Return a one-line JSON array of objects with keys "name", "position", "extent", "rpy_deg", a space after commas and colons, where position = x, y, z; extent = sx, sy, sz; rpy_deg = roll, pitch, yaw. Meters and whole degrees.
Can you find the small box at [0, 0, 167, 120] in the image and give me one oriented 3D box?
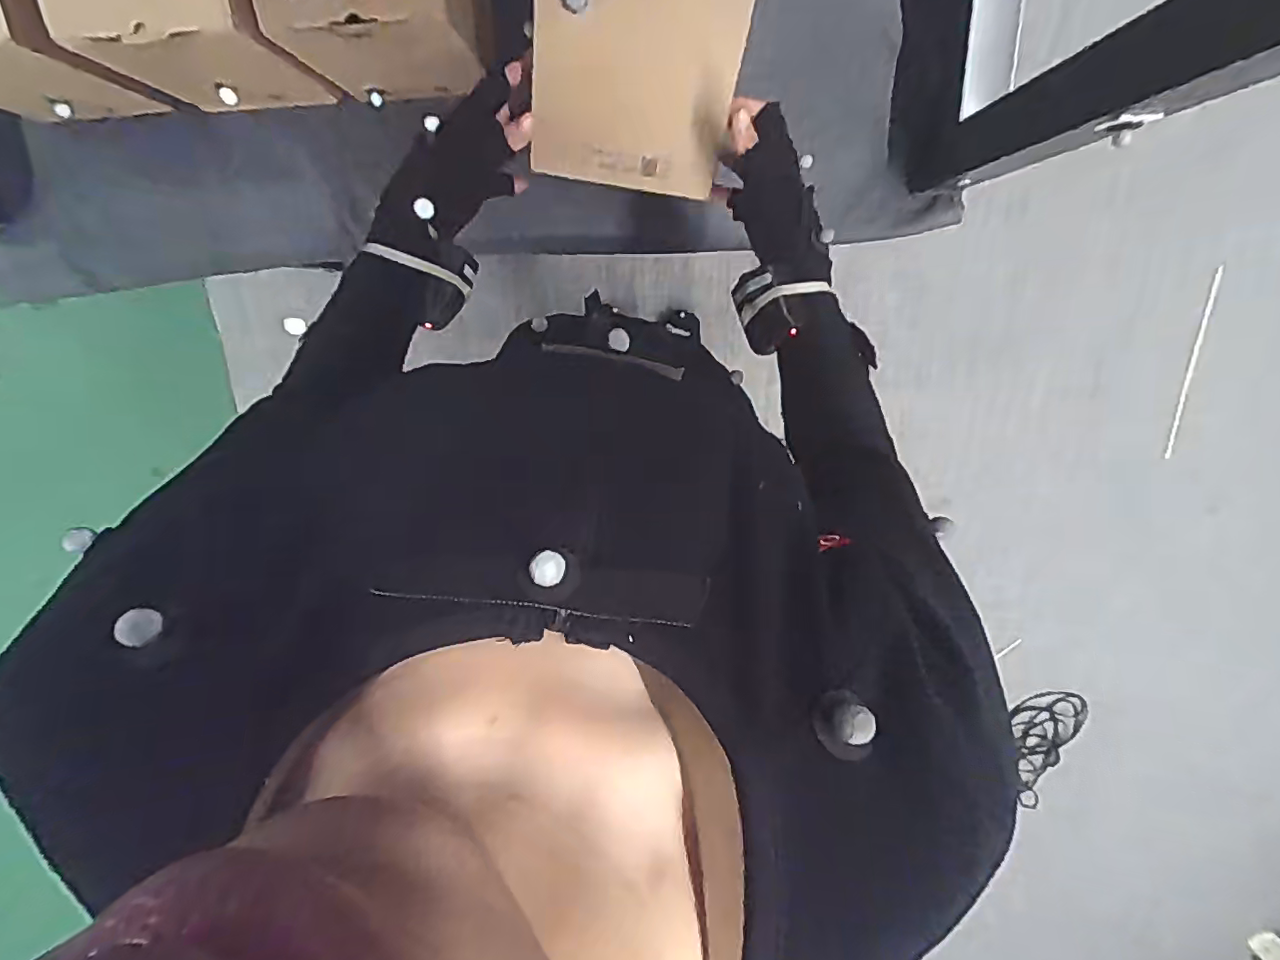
[{"name": "small box", "position": [-0.619, -0.475, 0.516], "extent": [0.168, 0.176, 0.179], "rpy_deg": [-3, 107, 2]}]
